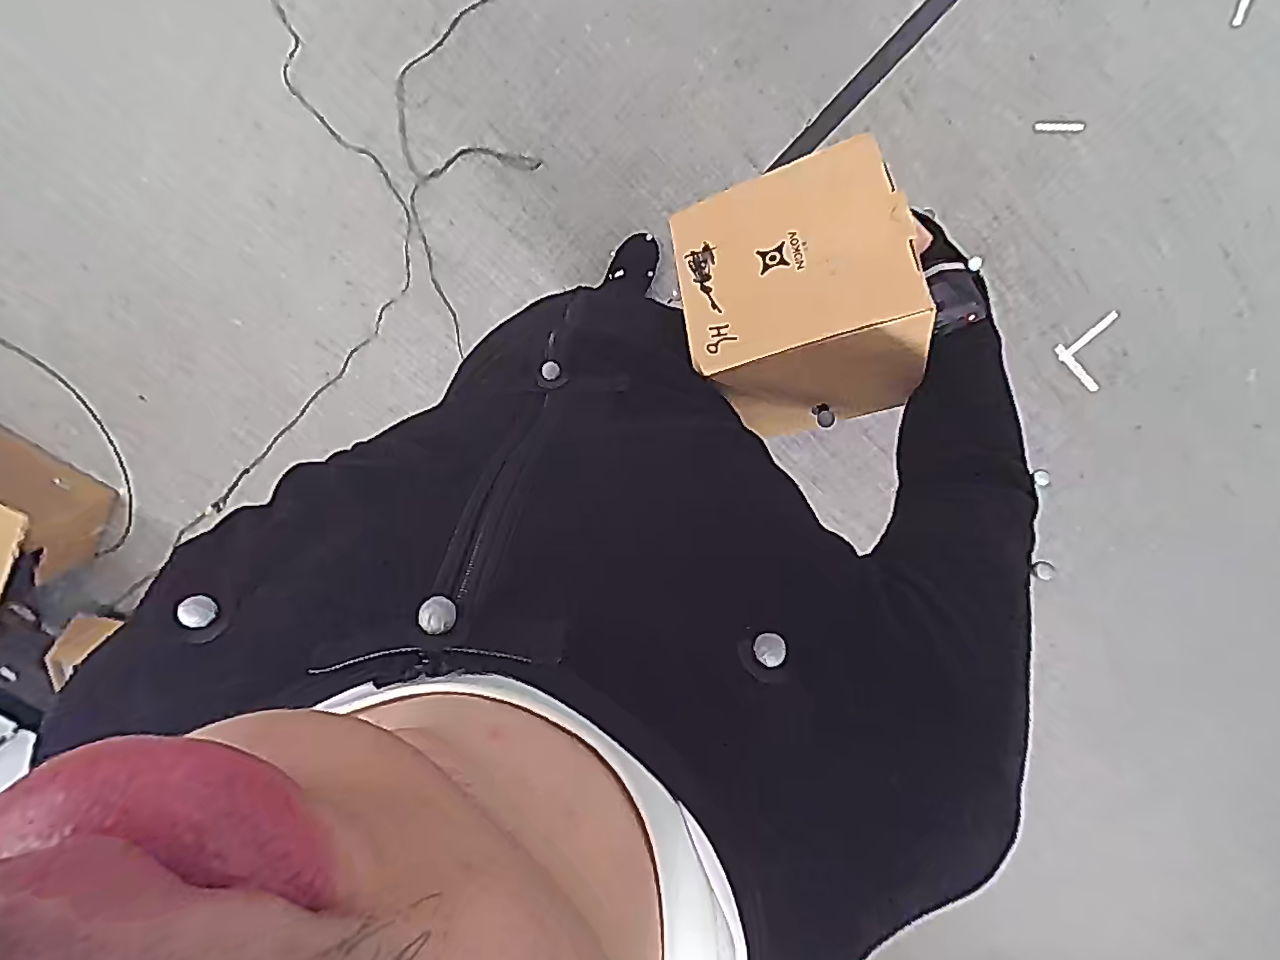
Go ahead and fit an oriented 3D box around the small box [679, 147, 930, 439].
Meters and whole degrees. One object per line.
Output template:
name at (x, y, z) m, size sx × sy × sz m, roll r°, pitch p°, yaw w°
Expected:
small box at (0.151, -0.156, 0.510) m, size 0.179 × 0.176 × 0.168 m, roll -13°, pitch 68°, yaw 19°
